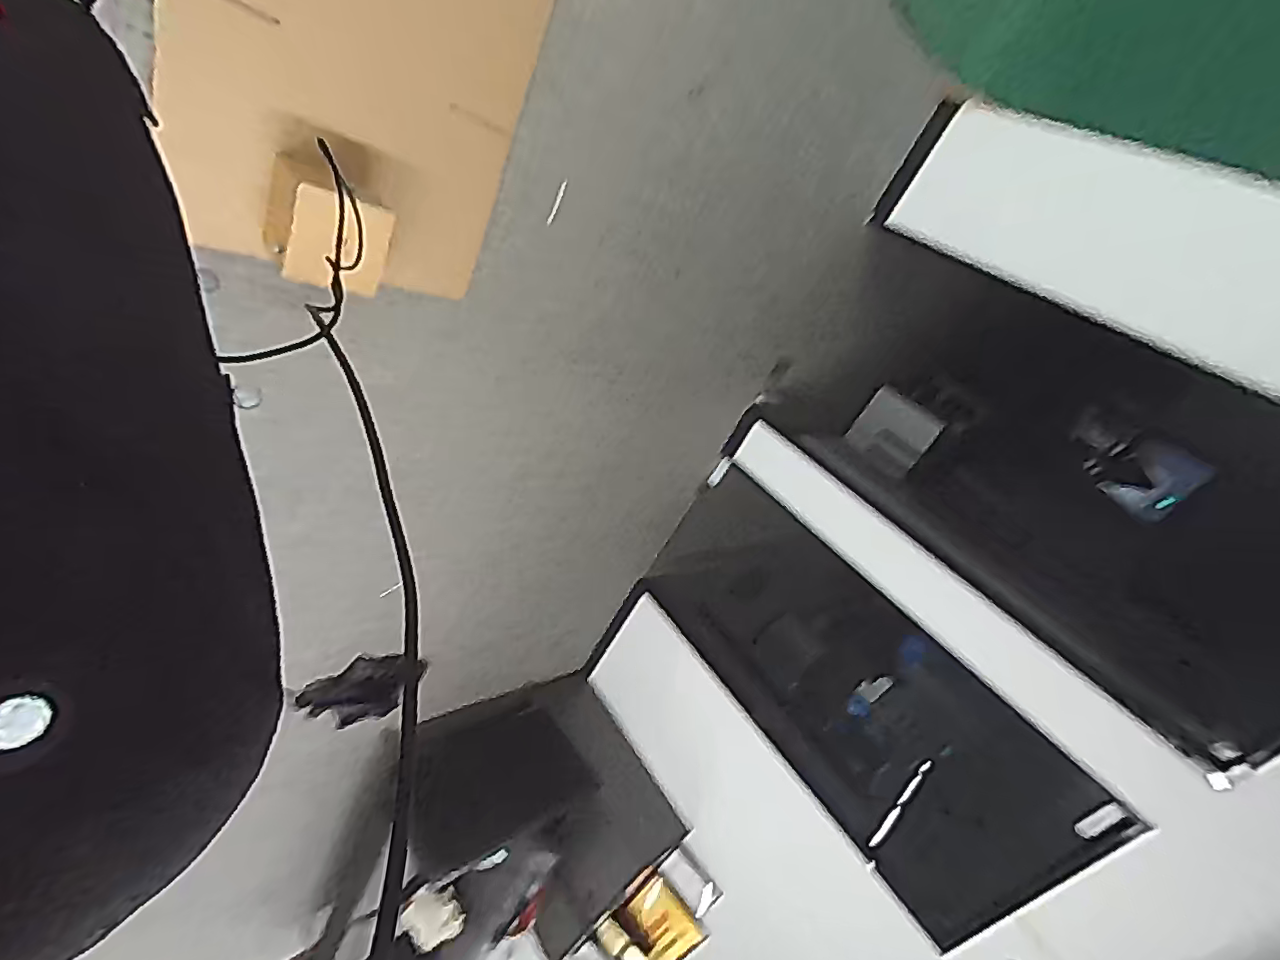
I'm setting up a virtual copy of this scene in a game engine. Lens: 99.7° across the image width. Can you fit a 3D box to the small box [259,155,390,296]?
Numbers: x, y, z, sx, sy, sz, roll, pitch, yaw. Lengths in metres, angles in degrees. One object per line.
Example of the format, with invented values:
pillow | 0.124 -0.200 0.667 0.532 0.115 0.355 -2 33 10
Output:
small box | -0.615 -0.490 1.045 0.168 0.176 0.179 -2 130 -48
